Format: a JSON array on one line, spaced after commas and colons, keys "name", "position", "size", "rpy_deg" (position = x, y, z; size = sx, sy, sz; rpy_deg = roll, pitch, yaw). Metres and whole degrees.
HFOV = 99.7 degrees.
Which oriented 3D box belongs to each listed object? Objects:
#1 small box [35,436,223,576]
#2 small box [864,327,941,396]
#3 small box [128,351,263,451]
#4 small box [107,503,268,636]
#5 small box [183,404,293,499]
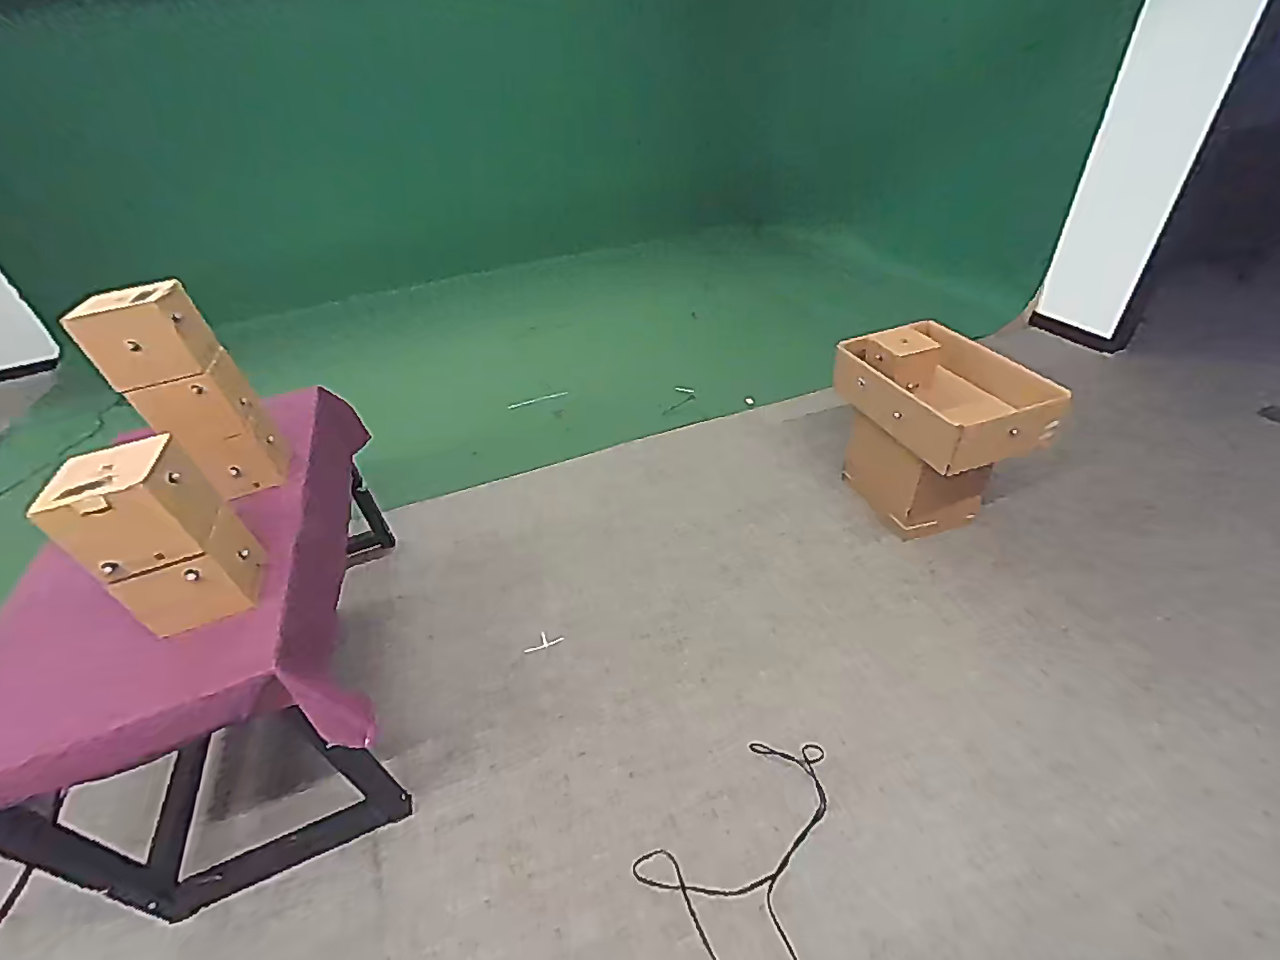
[{"name": "small box", "position": [-0.908, 0.052, 0.987], "size": [0.168, 0.176, 0.179], "rpy_deg": [-19, 39, -14]}, {"name": "small box", "position": [0.922, -0.421, 1.918], "size": [0.168, 0.176, 0.179], "rpy_deg": [-16, 38, -8]}, {"name": "small box", "position": [-1.072, -0.191, 1.322], "size": [0.179, 0.176, 0.168], "rpy_deg": [-18, 39, -13]}, {"name": "small box", "position": [-0.891, 0.180, 1.090], "size": [0.179, 0.176, 0.168], "rpy_deg": [-19, 39, -13]}, {"name": "small box", "position": [-1.049, -0.068, 1.427], "size": [0.168, 0.176, 0.179], "rpy_deg": [-19, 41, -14]}]
